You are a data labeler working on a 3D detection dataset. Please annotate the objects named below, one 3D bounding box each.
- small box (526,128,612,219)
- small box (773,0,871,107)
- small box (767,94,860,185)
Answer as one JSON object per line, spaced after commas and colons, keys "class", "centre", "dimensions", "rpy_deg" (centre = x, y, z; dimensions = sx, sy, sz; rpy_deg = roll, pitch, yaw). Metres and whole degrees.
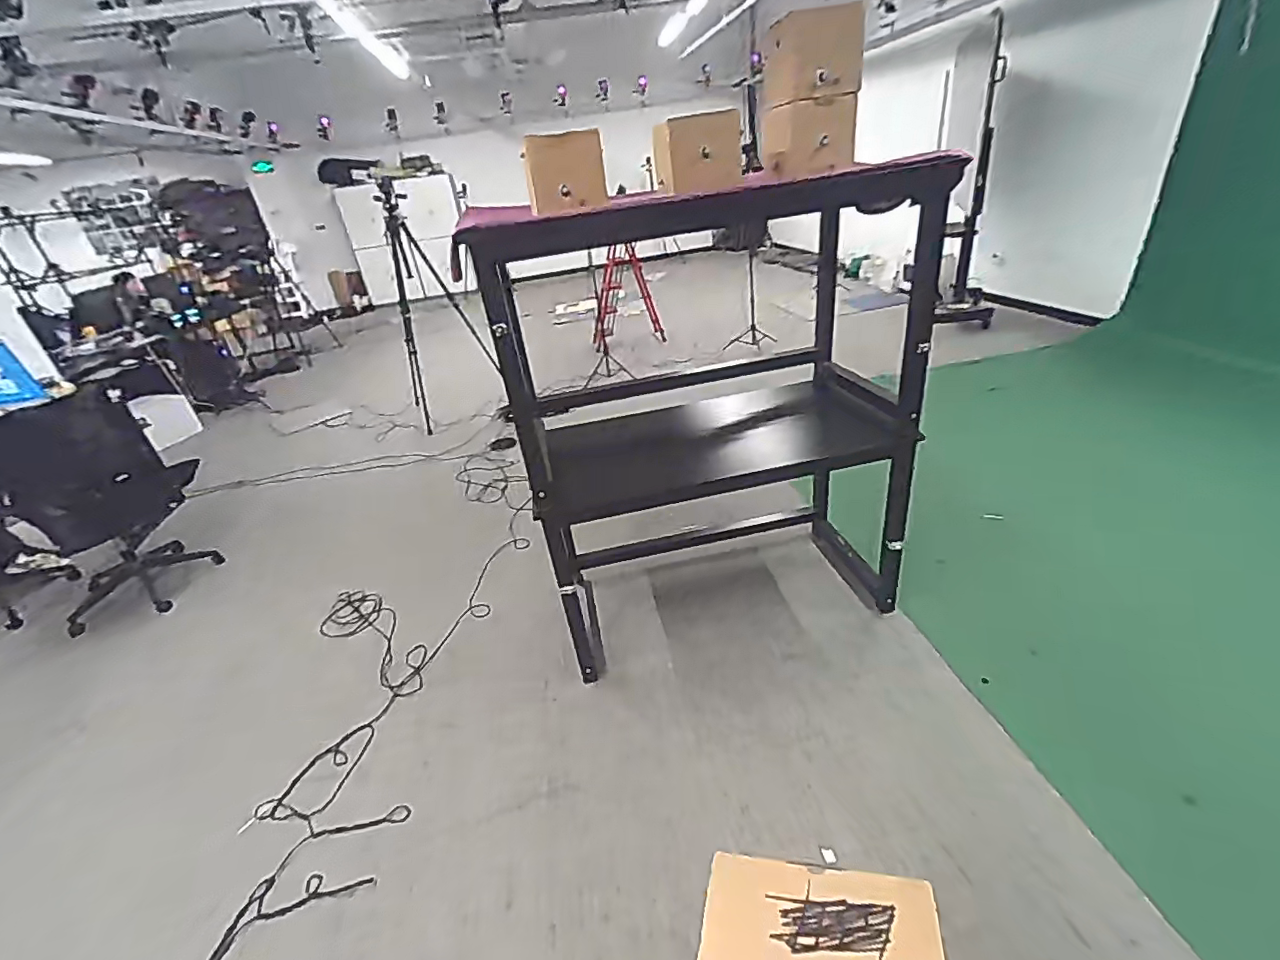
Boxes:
{"class": "small box", "centre": [-0.170, -0.716, 1.276], "dimensions": [0.168, 0.176, 0.179], "rpy_deg": [-13, 29, -9]}
{"class": "small box", "centre": [0.418, -0.986, 1.270], "dimensions": [0.168, 0.176, 0.179], "rpy_deg": [-11, 31, -2]}
{"class": "small box", "centre": [0.429, -0.845, 1.351], "dimensions": [0.168, 0.176, 0.179], "rpy_deg": [-11, 31, -5]}
